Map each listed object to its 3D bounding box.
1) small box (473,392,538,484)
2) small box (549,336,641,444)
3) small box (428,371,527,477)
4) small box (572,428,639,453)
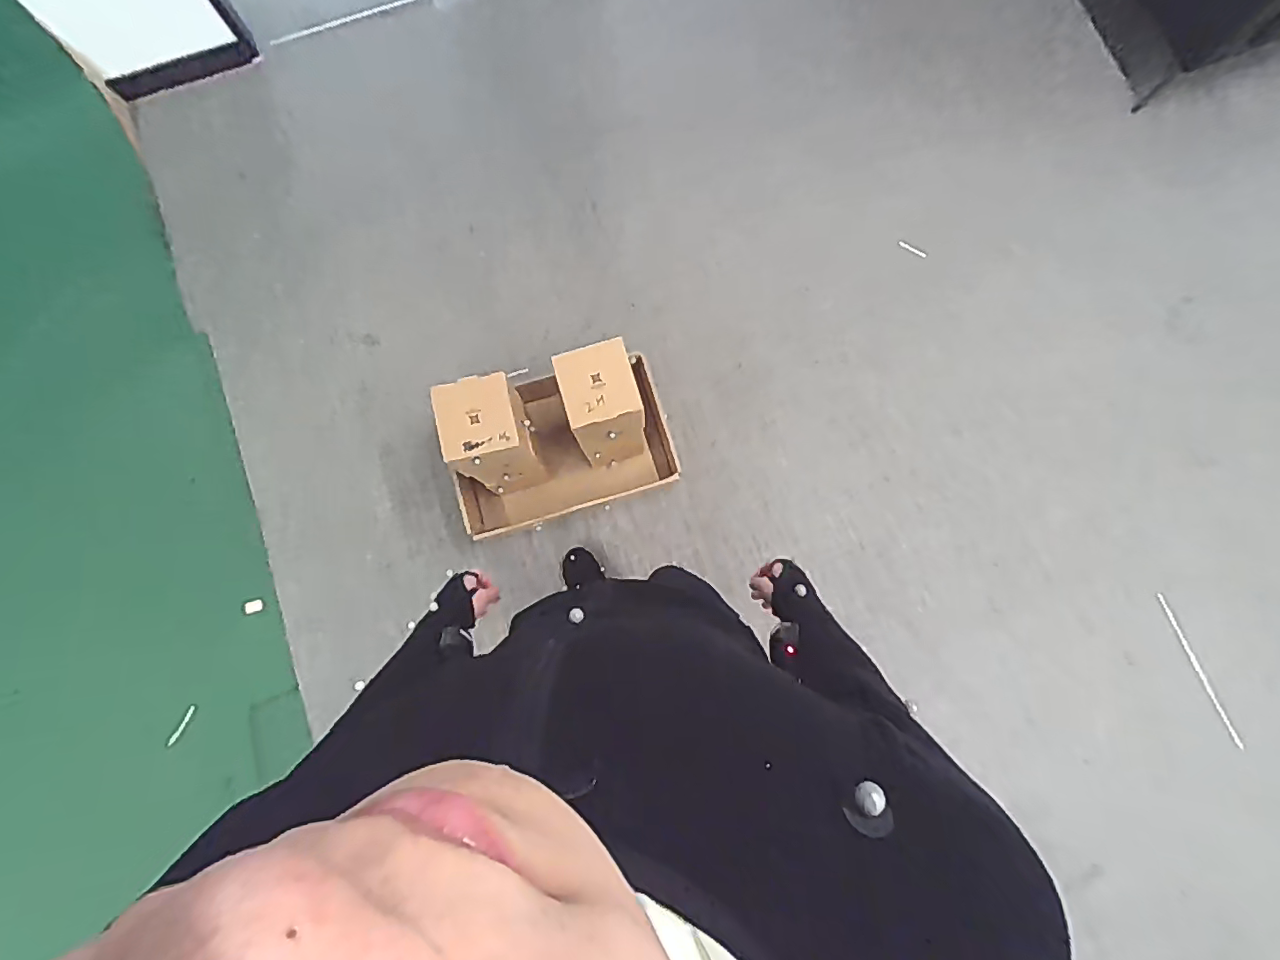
[{"bbox_3d":[-0.370,-0.103,1.392,0.168,0.176,0.179,-16,80,-5],"label":"small box"},{"bbox_3d":[-0.099,-0.200,1.246,0.168,0.176,0.179,-17,81,-2],"label":"small box"},{"bbox_3d":[-0.363,-0.121,1.228,0.168,0.176,0.179,-13,79,-4],"label":"small box"},{"bbox_3d":[-0.099,-0.176,1.409,0.168,0.176,0.179,-14,80,-2],"label":"small box"}]
